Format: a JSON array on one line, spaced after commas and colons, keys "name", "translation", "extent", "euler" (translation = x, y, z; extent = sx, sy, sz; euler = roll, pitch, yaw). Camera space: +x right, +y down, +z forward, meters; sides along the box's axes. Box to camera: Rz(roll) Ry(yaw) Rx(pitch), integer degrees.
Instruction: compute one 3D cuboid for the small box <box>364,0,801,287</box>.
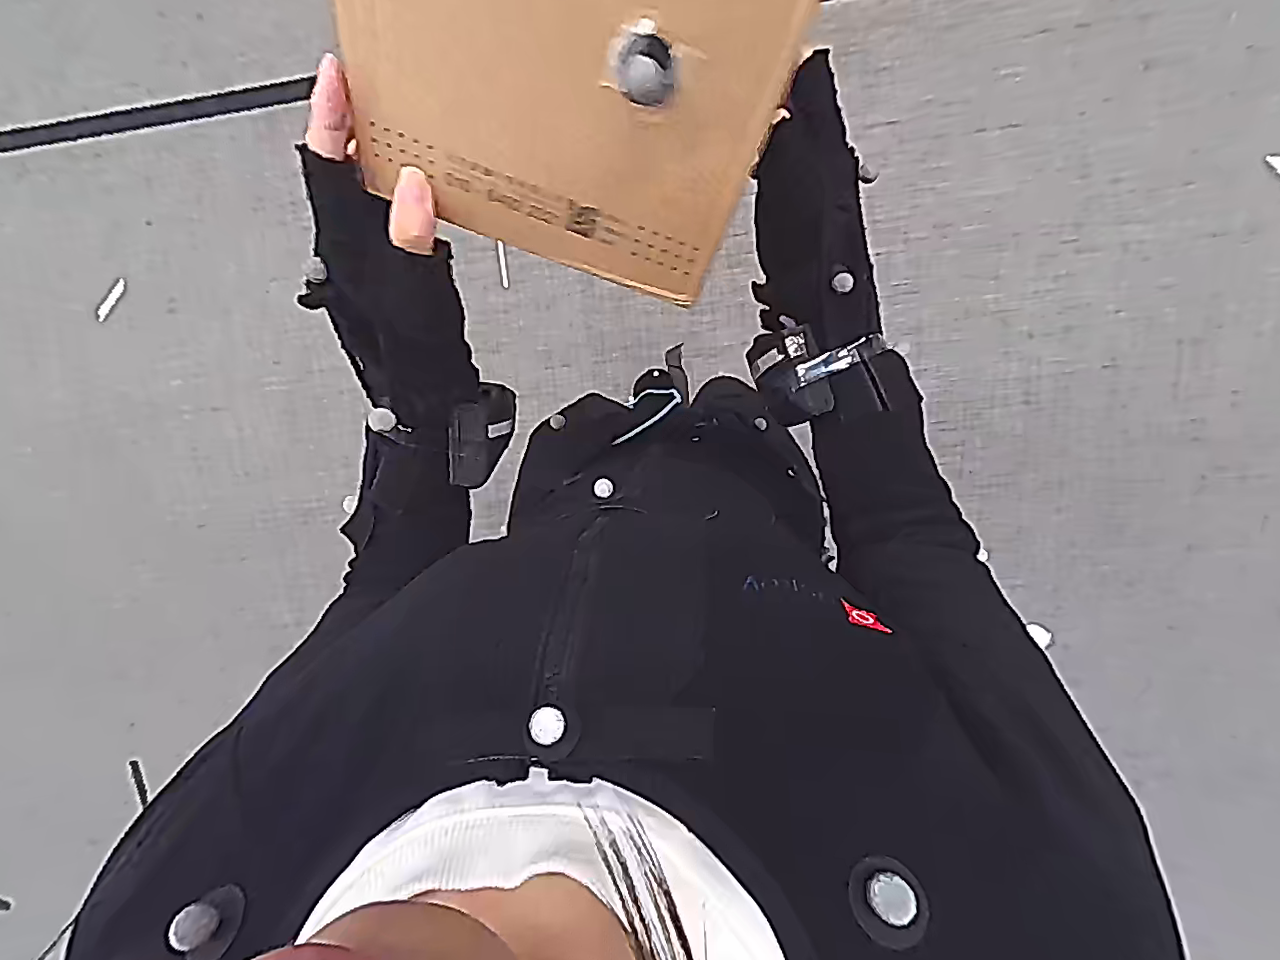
[{"name": "small box", "translation": [-0.013, -0.227, 0.260], "extent": [0.168, 0.179, 0.176], "euler": [21, 143, -2]}]
